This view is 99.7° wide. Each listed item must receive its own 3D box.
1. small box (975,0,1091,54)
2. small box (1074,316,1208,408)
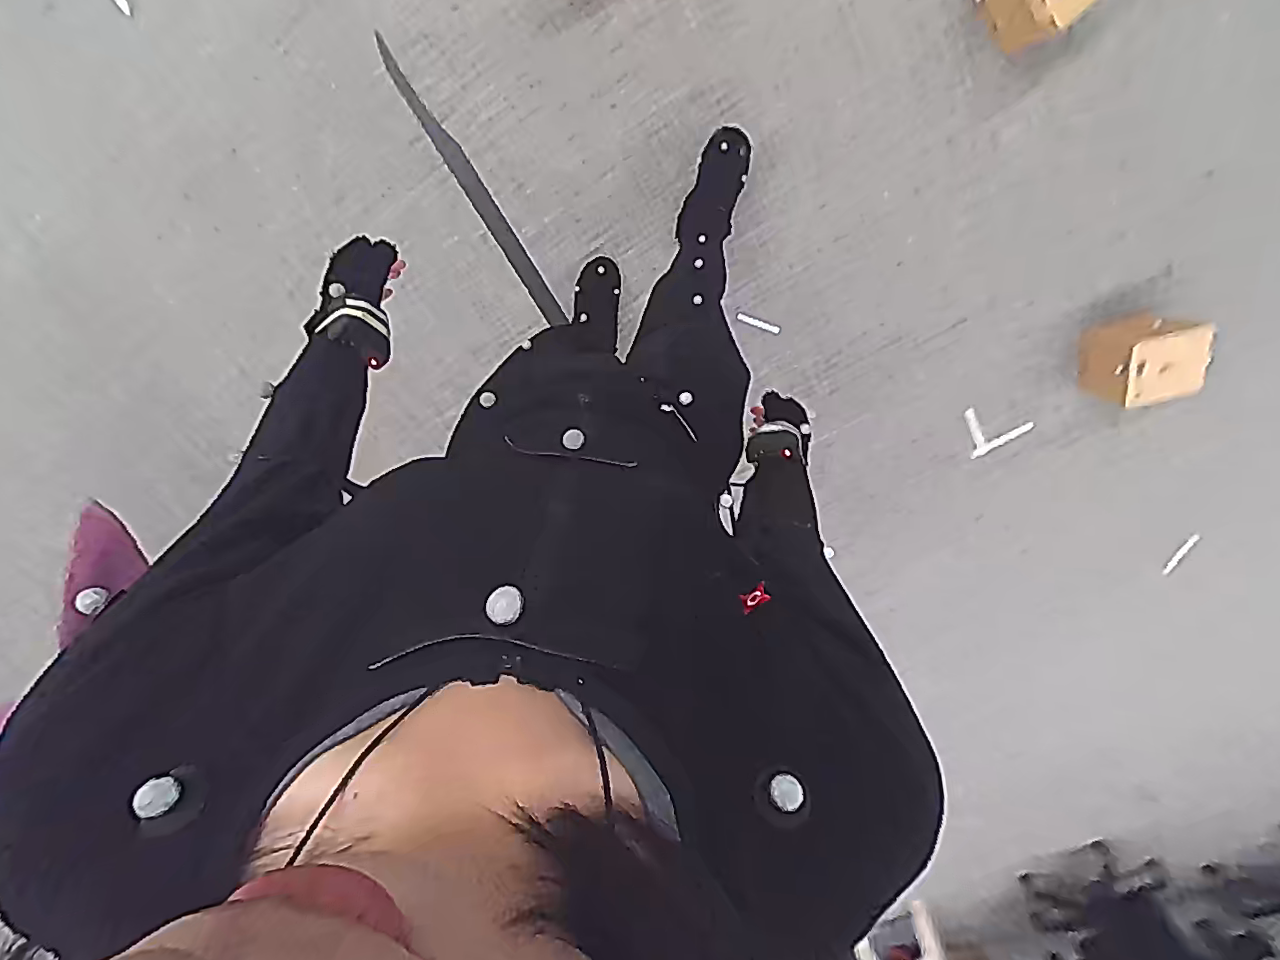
[{"bbox_3d":[0.778,-0.971,1.033,0.179,0.176,0.168,-40,110,17],"label":"small box"},{"bbox_3d":[1.254,-0.303,1.366,0.179,0.176,0.168,-14,115,6],"label":"small box"}]
